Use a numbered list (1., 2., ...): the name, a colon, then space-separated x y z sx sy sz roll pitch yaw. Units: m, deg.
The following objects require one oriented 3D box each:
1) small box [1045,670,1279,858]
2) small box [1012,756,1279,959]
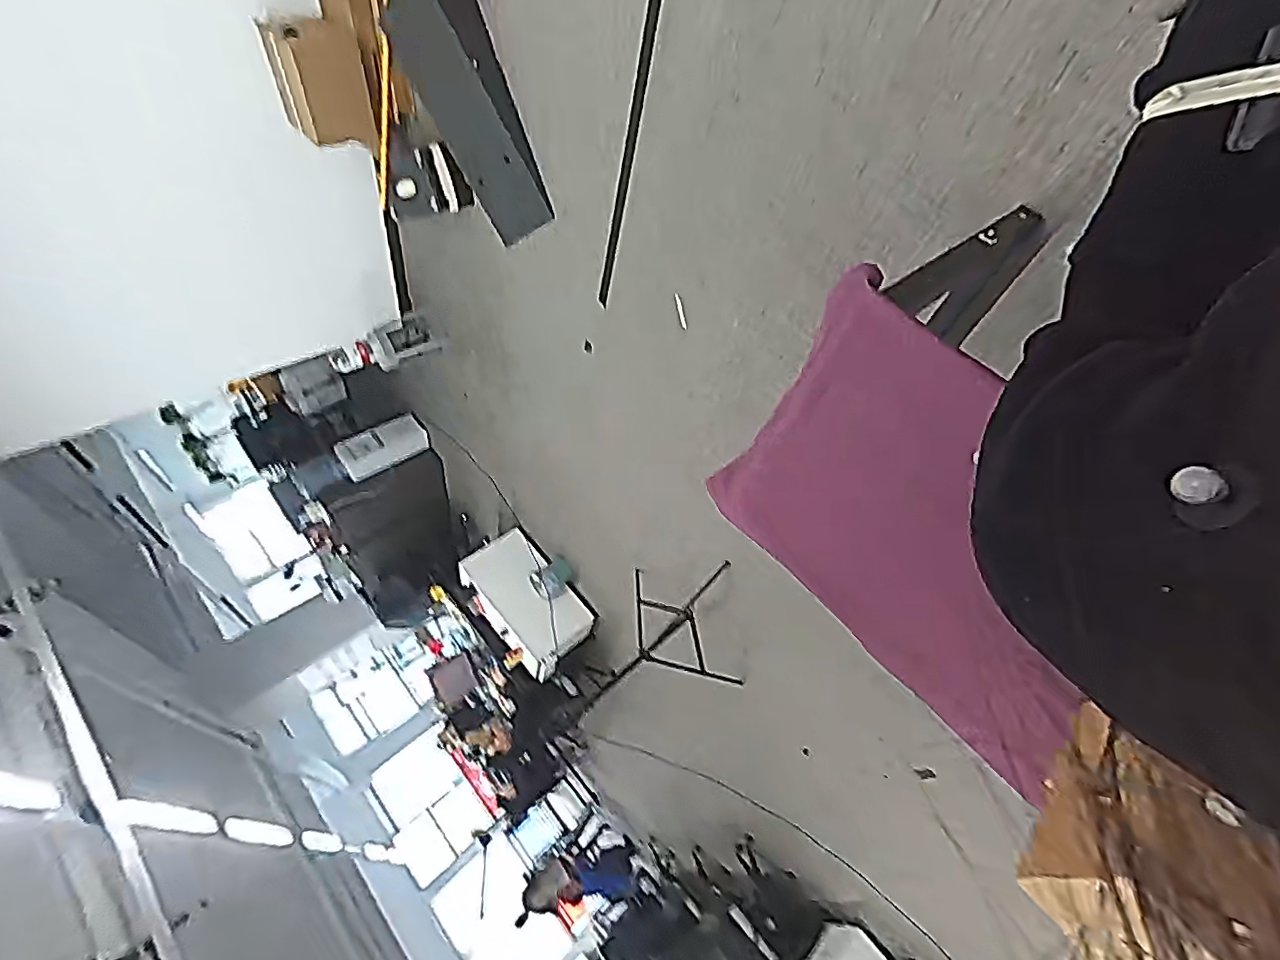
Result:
1. small box: 0.707 0.392 0.721 0.179 0.176 0.168 45 147 21
2. small box: 0.595 0.461 0.627 0.179 0.176 0.168 46 146 19
